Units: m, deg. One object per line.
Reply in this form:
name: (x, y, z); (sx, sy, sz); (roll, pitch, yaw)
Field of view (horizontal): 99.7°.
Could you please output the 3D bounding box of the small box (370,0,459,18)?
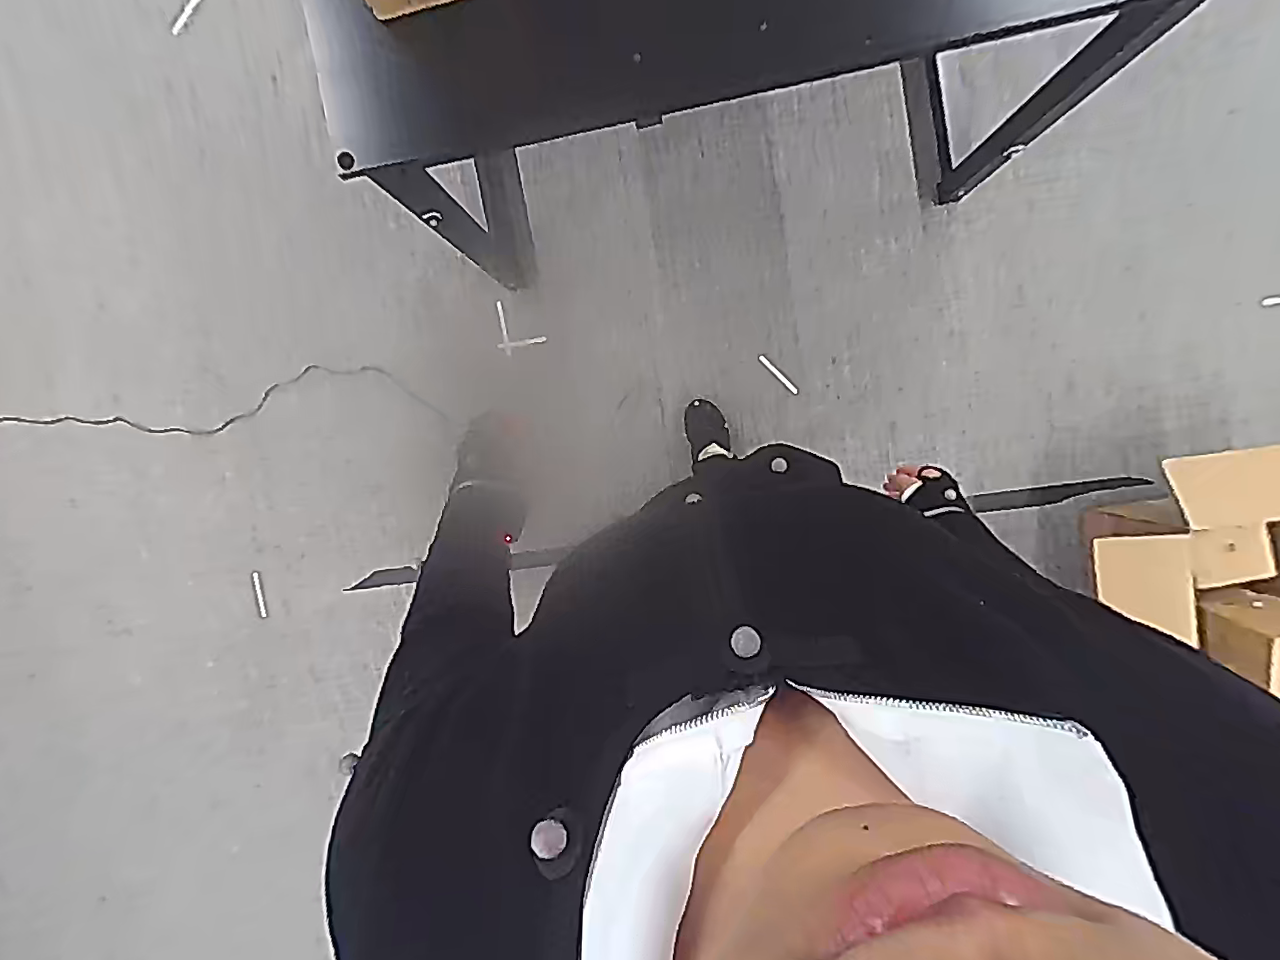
small box: (-0.295, -0.708, 0.633); (0.168, 0.176, 0.179); (-11, 96, 5)
